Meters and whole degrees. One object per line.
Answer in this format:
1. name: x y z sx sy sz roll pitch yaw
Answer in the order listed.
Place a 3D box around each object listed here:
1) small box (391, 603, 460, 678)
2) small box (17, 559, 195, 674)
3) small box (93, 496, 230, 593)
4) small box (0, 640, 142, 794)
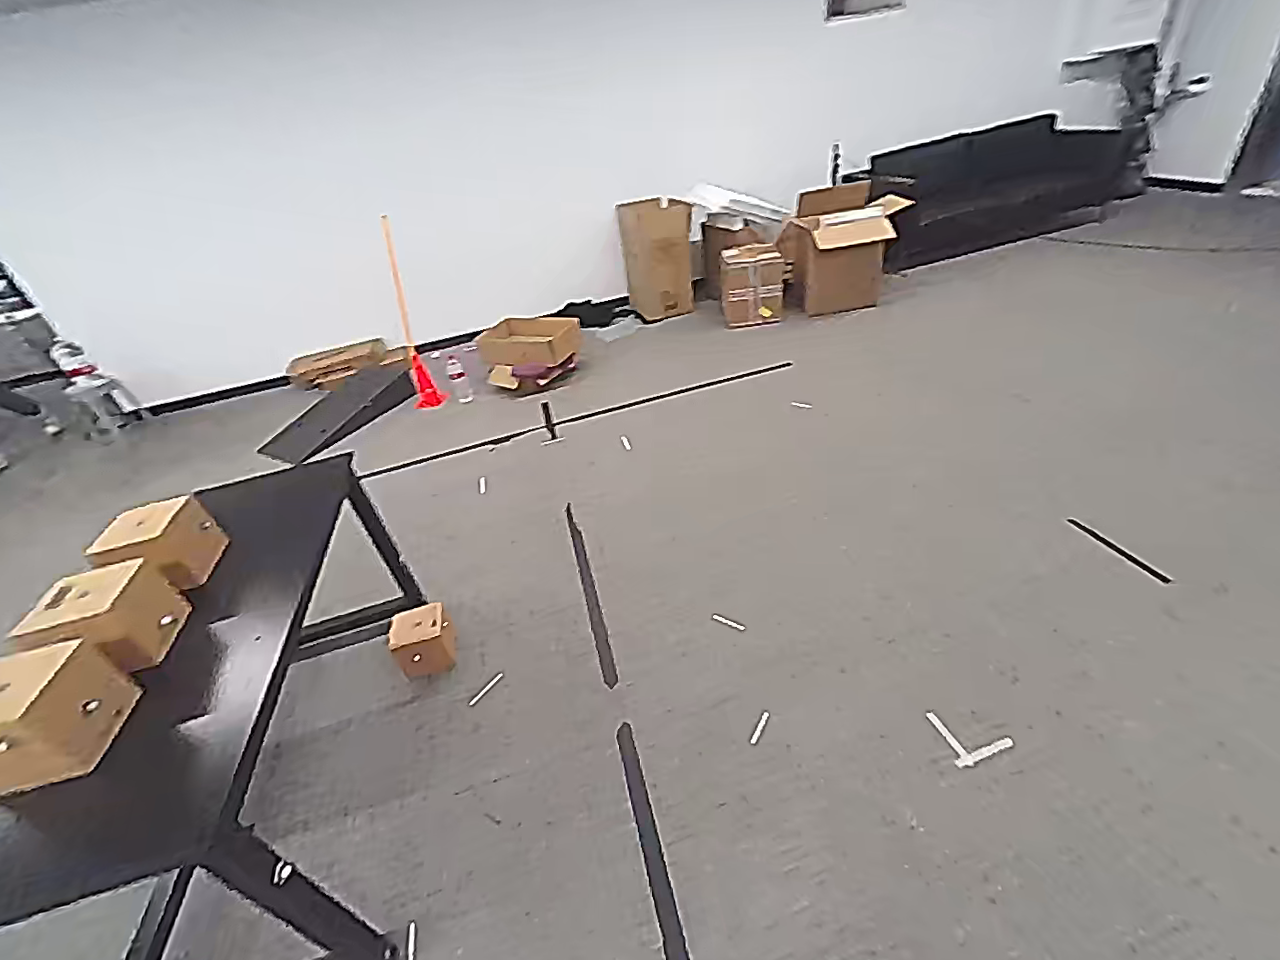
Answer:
1. small box: -0.765 0.578 1.940 0.179 0.176 0.168 -16 36 -8
2. small box: -1.112 0.301 1.146 0.179 0.176 0.168 -15 35 -9
3. small box: -1.174 0.172 1.349 0.168 0.176 0.179 -17 36 -7
4. small box: -1.062 0.421 0.963 0.179 0.176 0.168 -14 34 -4
